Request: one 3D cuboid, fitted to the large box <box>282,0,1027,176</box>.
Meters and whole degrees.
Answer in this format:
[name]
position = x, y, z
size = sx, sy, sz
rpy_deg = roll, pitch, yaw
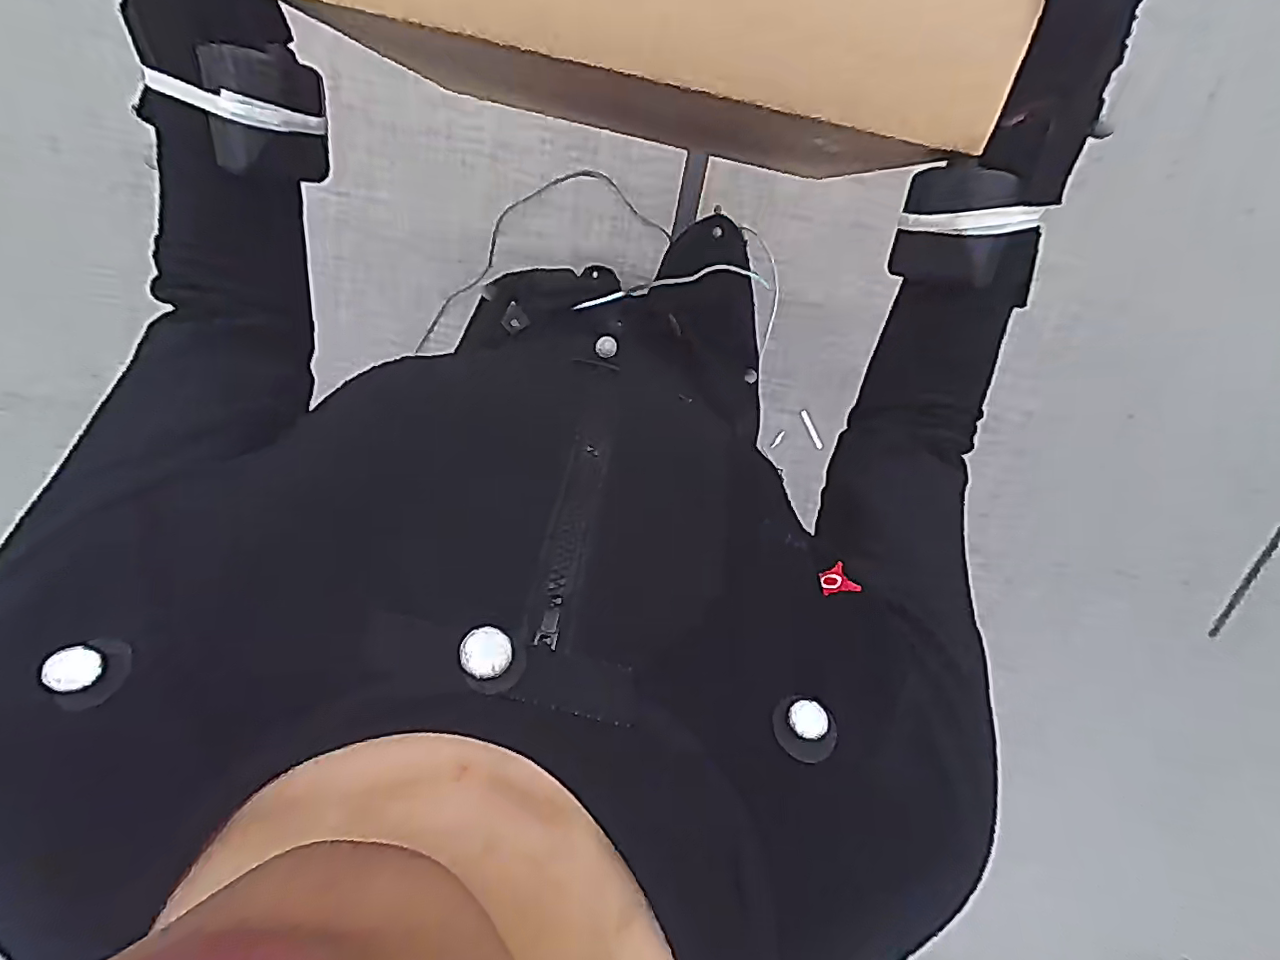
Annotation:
[large box]
position = 0.024, -0.423, 0.365
size = 0.408, 0.320, 0.320
rpy_deg = 10, 118, -5
